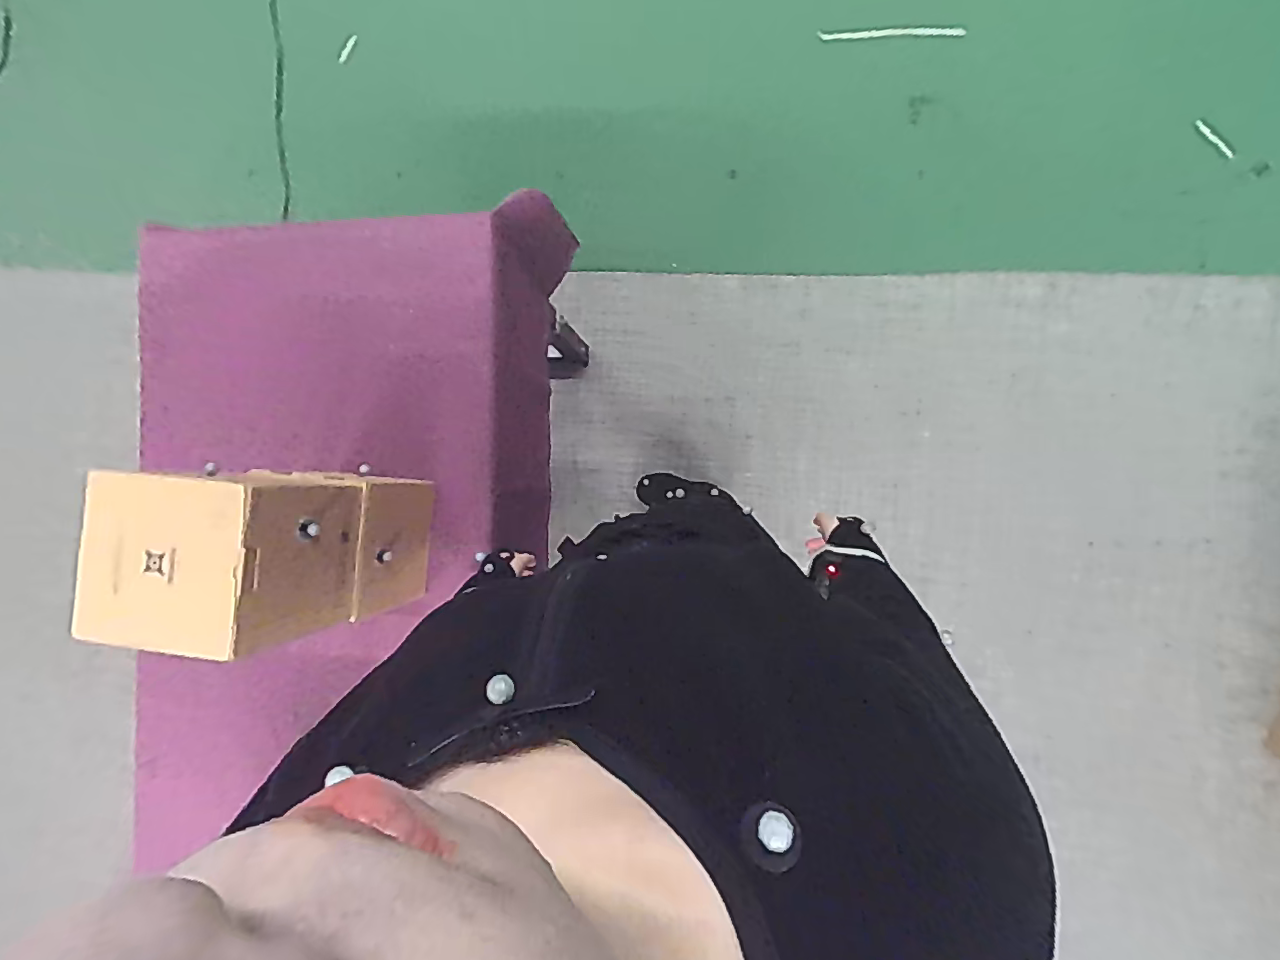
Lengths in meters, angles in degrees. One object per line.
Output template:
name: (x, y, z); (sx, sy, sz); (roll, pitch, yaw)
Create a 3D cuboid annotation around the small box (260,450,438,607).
small box: (-0.405, 0.060, 0.757); (0.168, 0.176, 0.179); (9, 90, 8)

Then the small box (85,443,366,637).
small box: (-0.437, 0.057, 0.597); (0.179, 0.176, 0.168); (9, 90, 9)

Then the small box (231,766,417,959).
small box: (-0.433, 0.538, 0.755); (0.168, 0.176, 0.179); (5, 89, 8)
